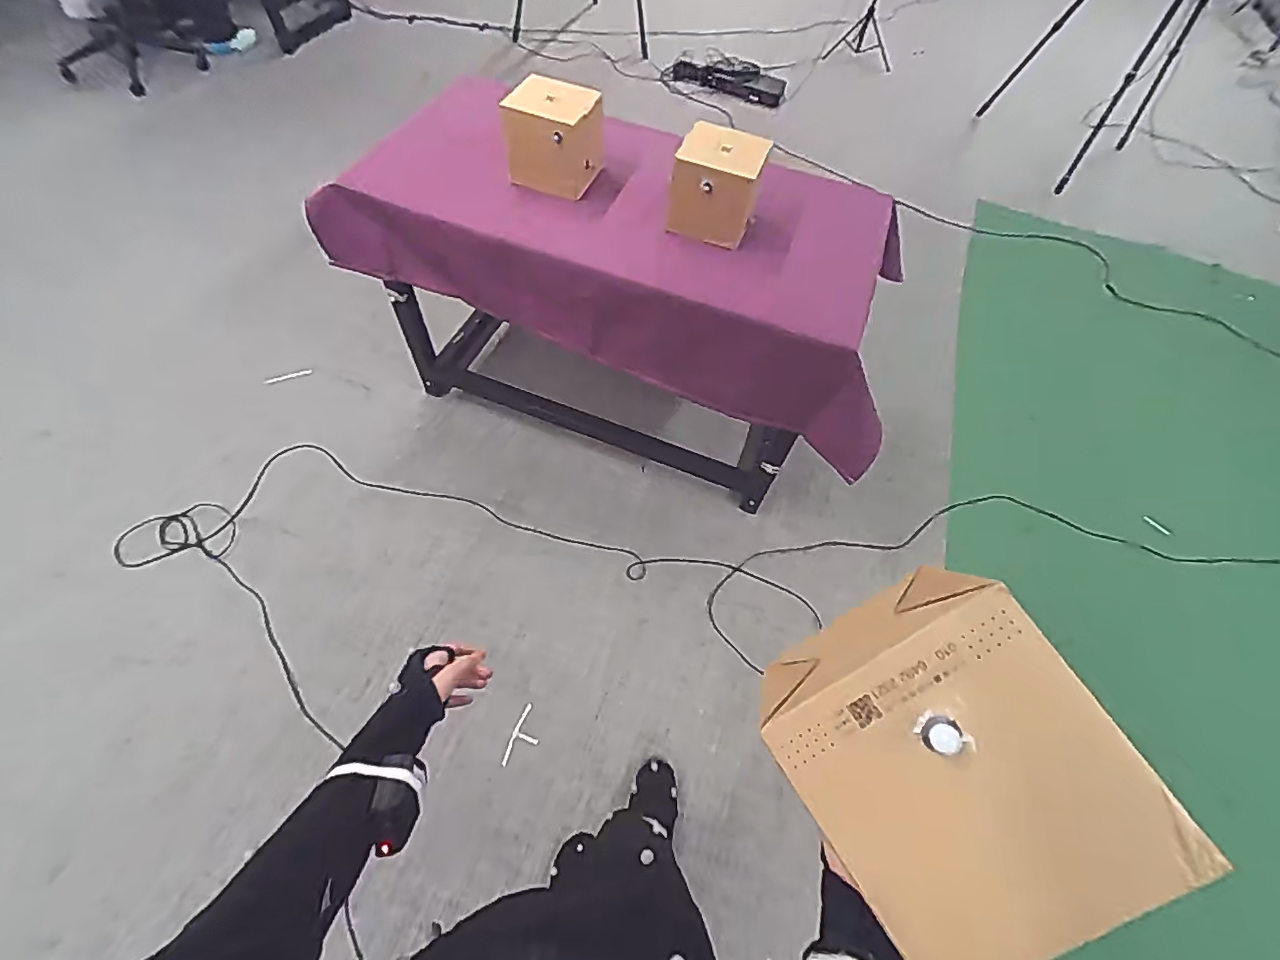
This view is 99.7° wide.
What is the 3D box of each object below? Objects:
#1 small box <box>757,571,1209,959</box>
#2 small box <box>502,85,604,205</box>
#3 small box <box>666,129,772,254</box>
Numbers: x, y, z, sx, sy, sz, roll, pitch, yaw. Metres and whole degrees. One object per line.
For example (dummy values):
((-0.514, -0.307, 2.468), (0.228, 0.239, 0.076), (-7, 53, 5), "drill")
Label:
((0.198, 0.176, 0.380), (0.168, 0.179, 0.176), (-37, 75, 8), "small box")
((-0.195, -0.768, 1.248), (0.179, 0.176, 0.168), (19, 58, 6), "small box")
((0.168, -0.631, 1.195), (0.179, 0.176, 0.168), (21, 59, 7), "small box")
